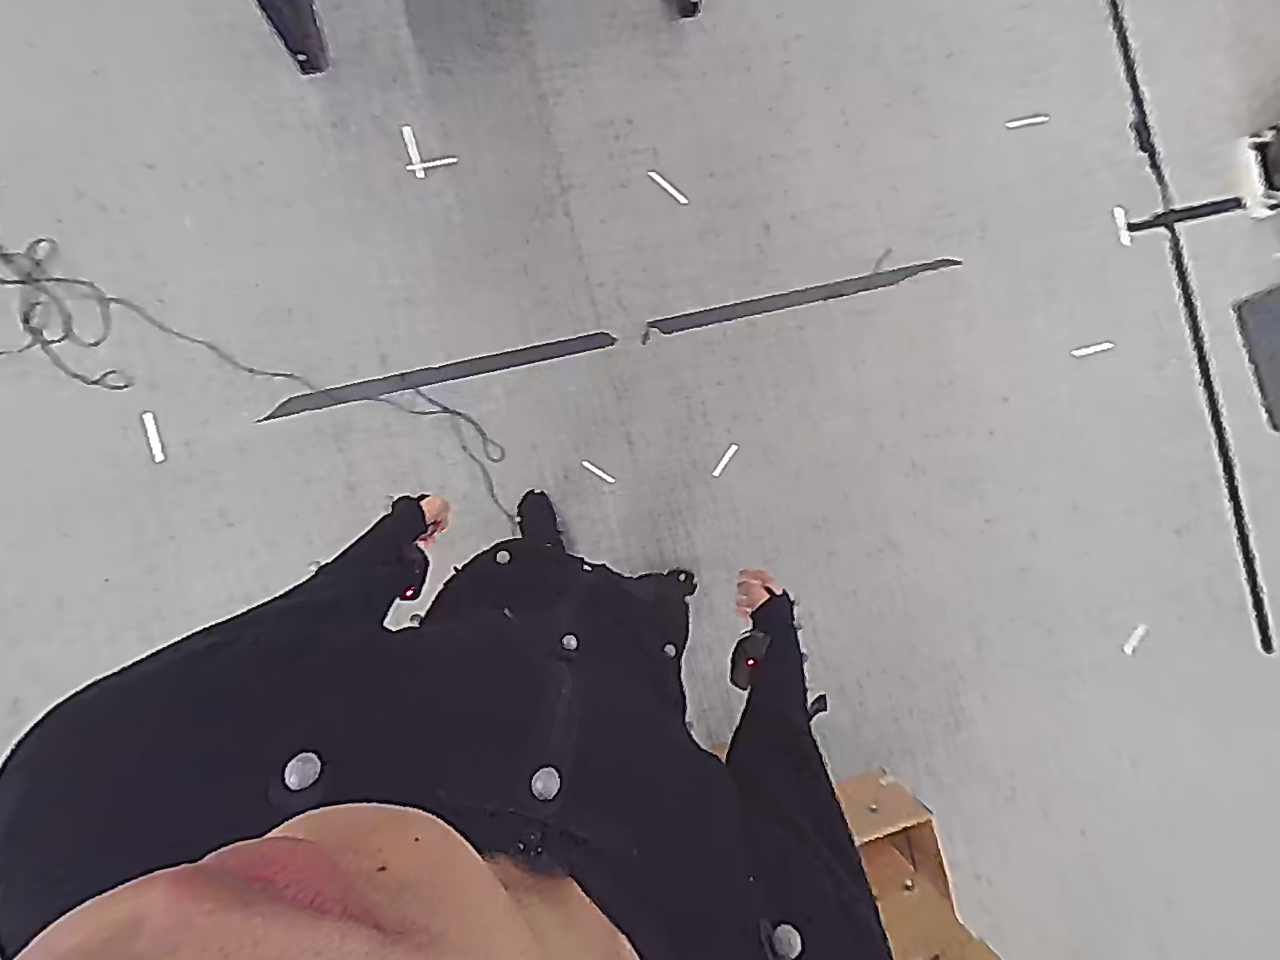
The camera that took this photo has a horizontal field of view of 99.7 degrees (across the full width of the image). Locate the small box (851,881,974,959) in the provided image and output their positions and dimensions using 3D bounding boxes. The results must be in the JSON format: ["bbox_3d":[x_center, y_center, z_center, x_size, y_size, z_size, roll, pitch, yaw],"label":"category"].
[{"bbox_3d":[0.542,0.937,1.058,0.168,0.176,0.179,-19,94,-8],"label":"small box"}]
